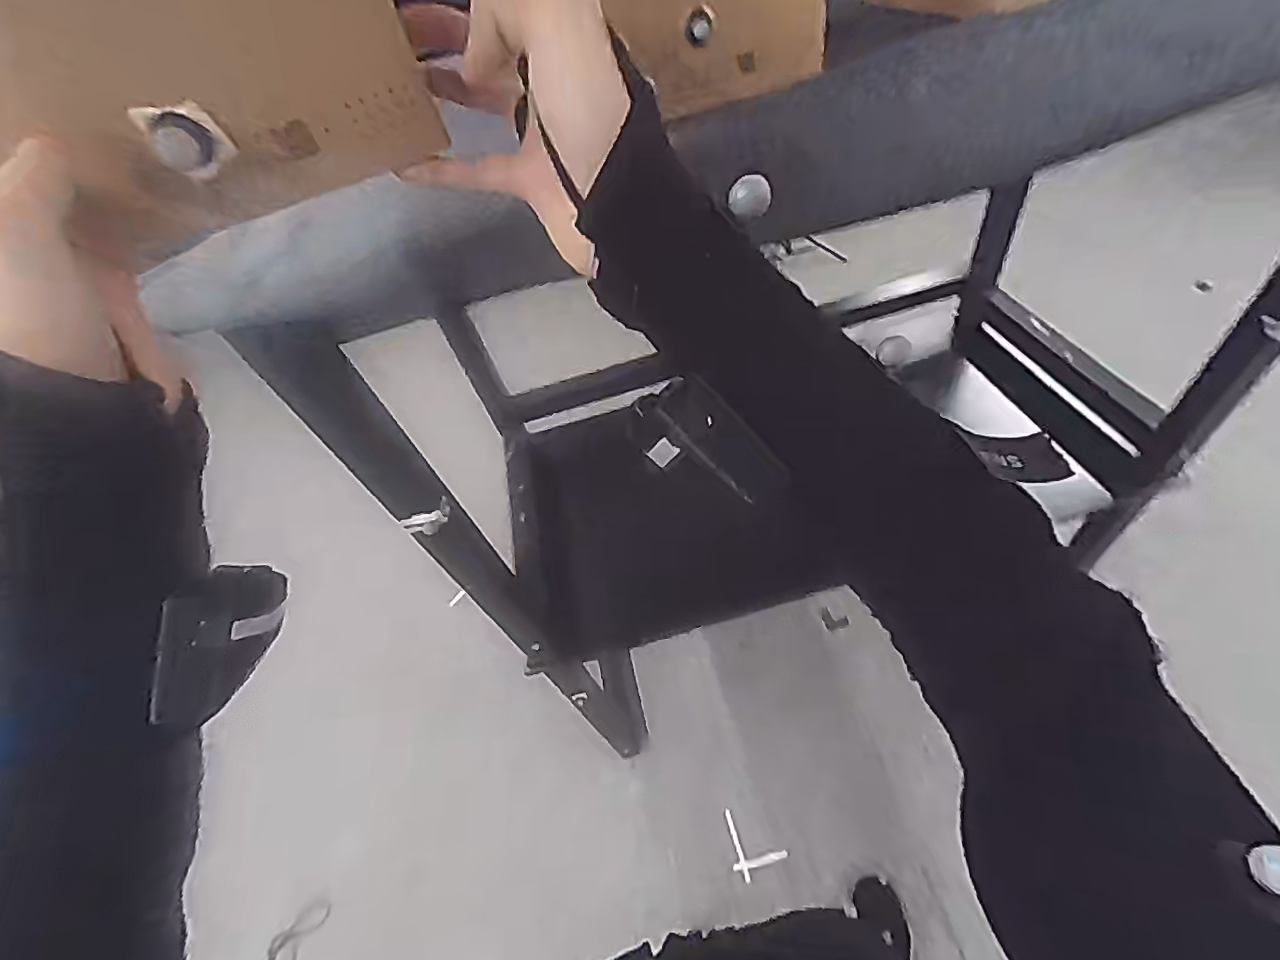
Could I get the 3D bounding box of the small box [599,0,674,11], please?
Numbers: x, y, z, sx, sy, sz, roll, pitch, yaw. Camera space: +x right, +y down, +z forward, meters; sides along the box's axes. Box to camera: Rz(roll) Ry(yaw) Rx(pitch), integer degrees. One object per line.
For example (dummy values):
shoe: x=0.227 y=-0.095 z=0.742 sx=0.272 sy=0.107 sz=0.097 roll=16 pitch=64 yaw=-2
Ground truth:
small box: x=0.028 y=-0.474 z=0.393 sx=0.168 sy=0.176 sz=0.179 roll=-14 pitch=49 yaw=2
